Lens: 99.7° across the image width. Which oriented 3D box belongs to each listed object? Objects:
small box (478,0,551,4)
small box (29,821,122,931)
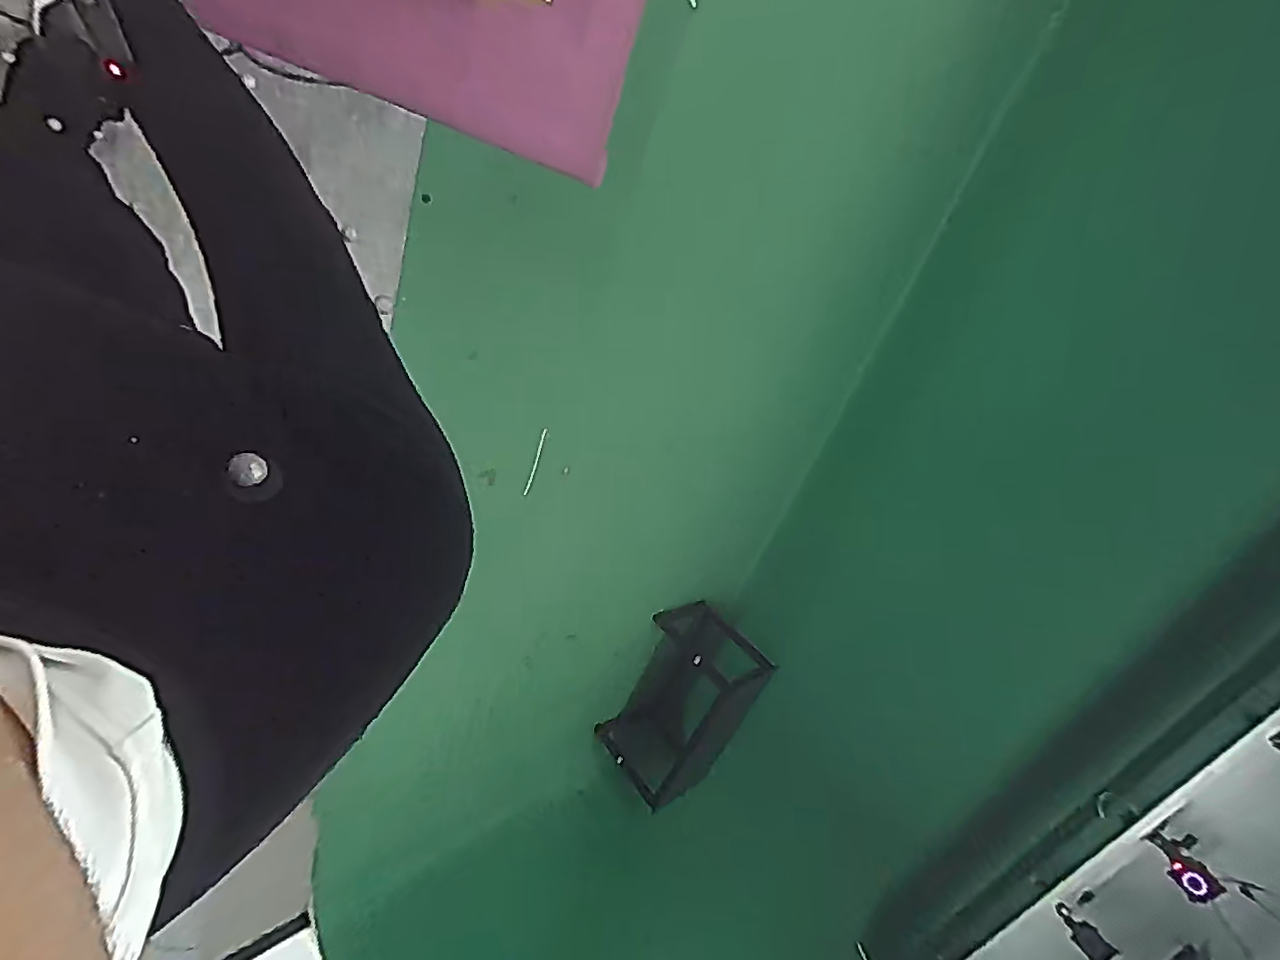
[{"bbox_3d":[-0.176,-0.637,0.554,0.168,0.176,0.179,-2,123,-45],"label":"small box"},{"bbox_3d":[-1.638,1.139,1.572,0.168,0.176,0.179,-9,130,-41],"label":"small box"}]
